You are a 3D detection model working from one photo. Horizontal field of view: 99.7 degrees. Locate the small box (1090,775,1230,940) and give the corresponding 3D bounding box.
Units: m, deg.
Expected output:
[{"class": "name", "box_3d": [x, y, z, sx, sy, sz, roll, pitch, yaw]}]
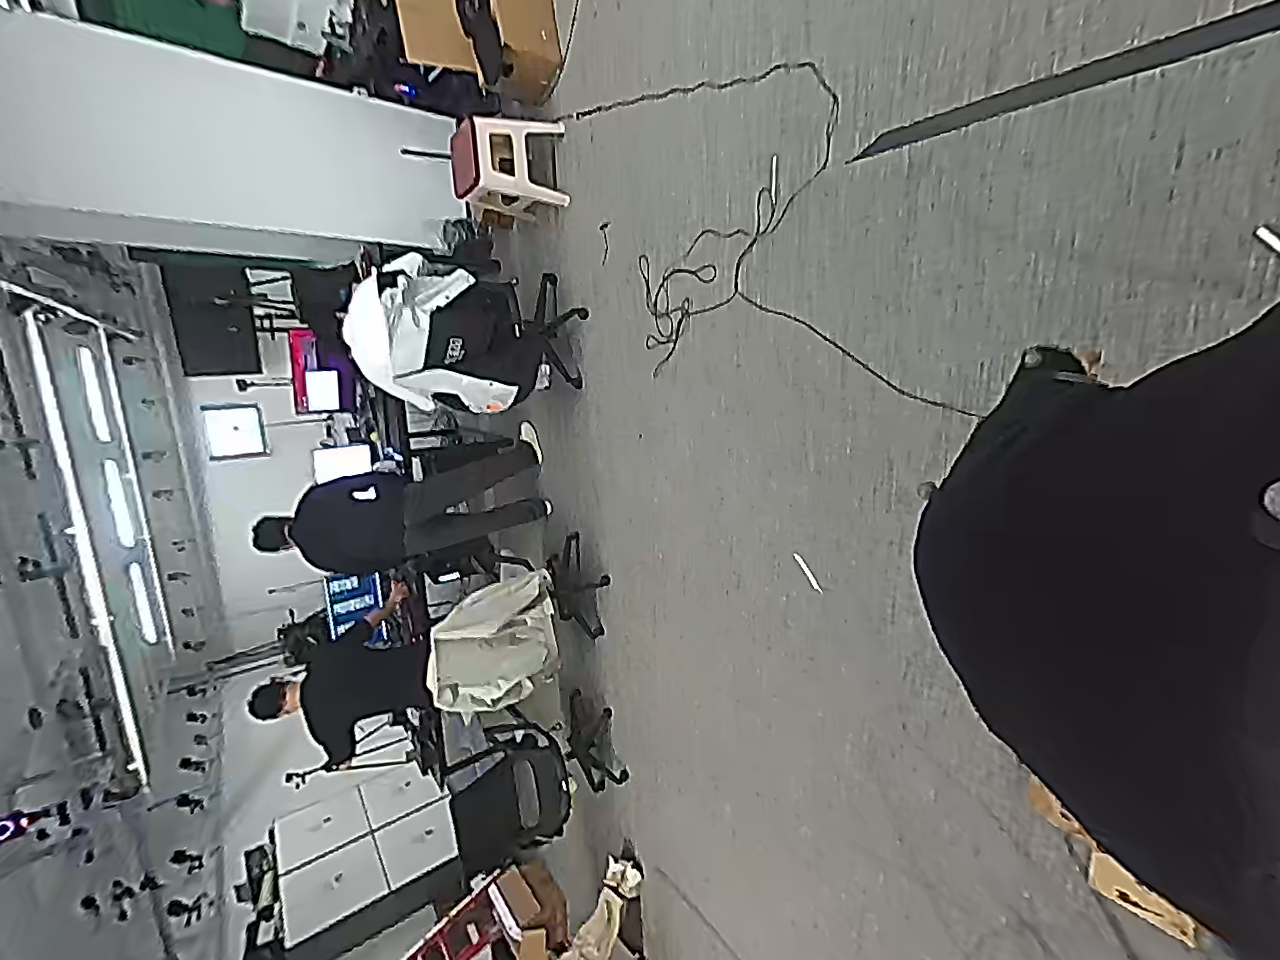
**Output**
[{"class": "small box", "box_3d": [1.042, 0.738, 1.083, 0.168, 0.176, 0.179, 14, 110, 53]}]
